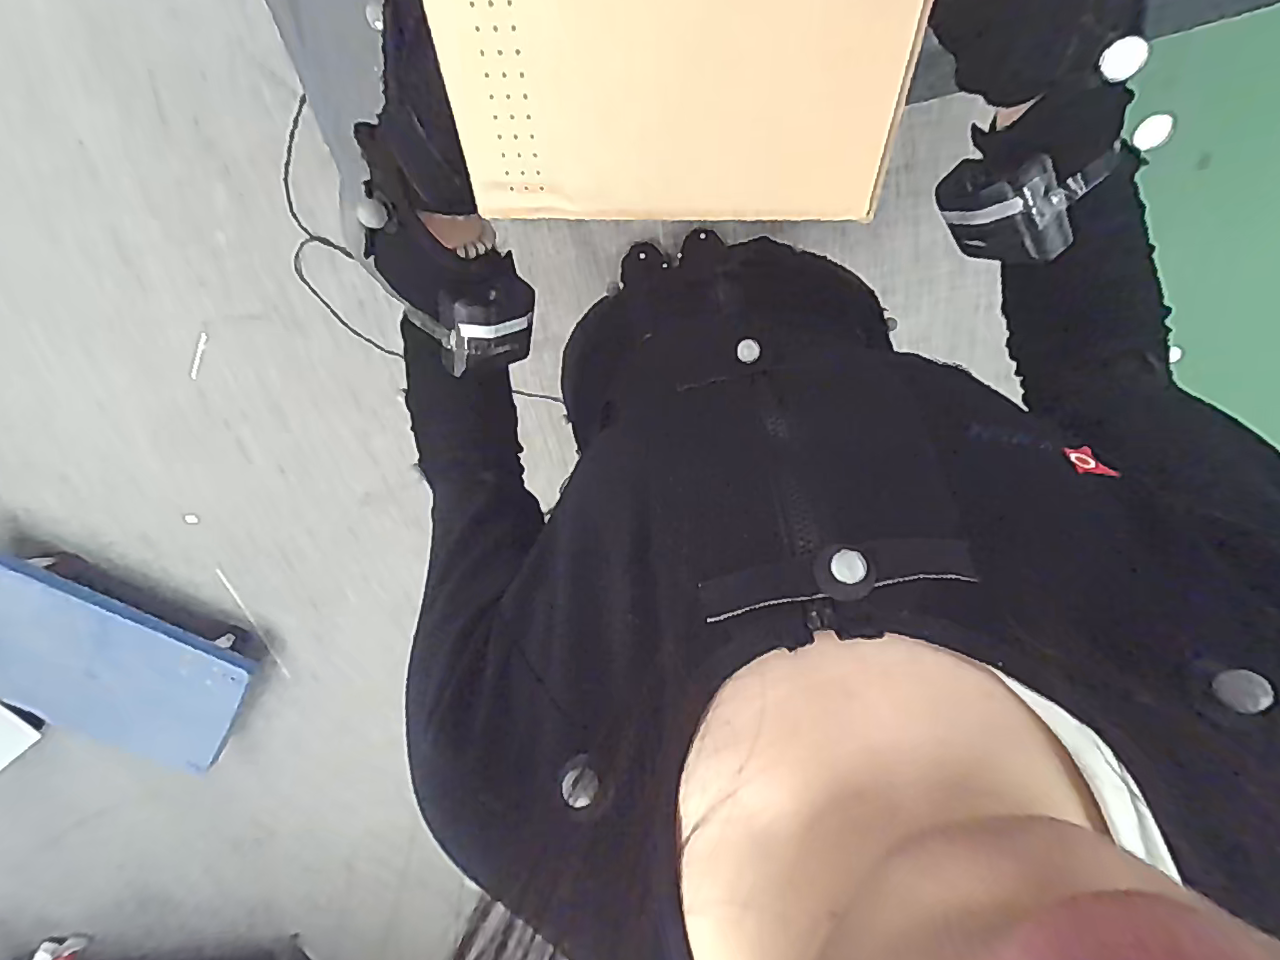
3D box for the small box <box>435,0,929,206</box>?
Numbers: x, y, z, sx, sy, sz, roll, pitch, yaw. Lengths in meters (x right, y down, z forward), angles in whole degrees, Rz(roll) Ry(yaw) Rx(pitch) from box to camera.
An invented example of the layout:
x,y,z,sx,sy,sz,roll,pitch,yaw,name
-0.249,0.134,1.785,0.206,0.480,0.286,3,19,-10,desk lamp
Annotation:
x,y,z,sx,sy,sz,roll,pitch,yaw,name
0.015,-0.232,0.215,0.176,0.168,0.179,2,139,5,small box
